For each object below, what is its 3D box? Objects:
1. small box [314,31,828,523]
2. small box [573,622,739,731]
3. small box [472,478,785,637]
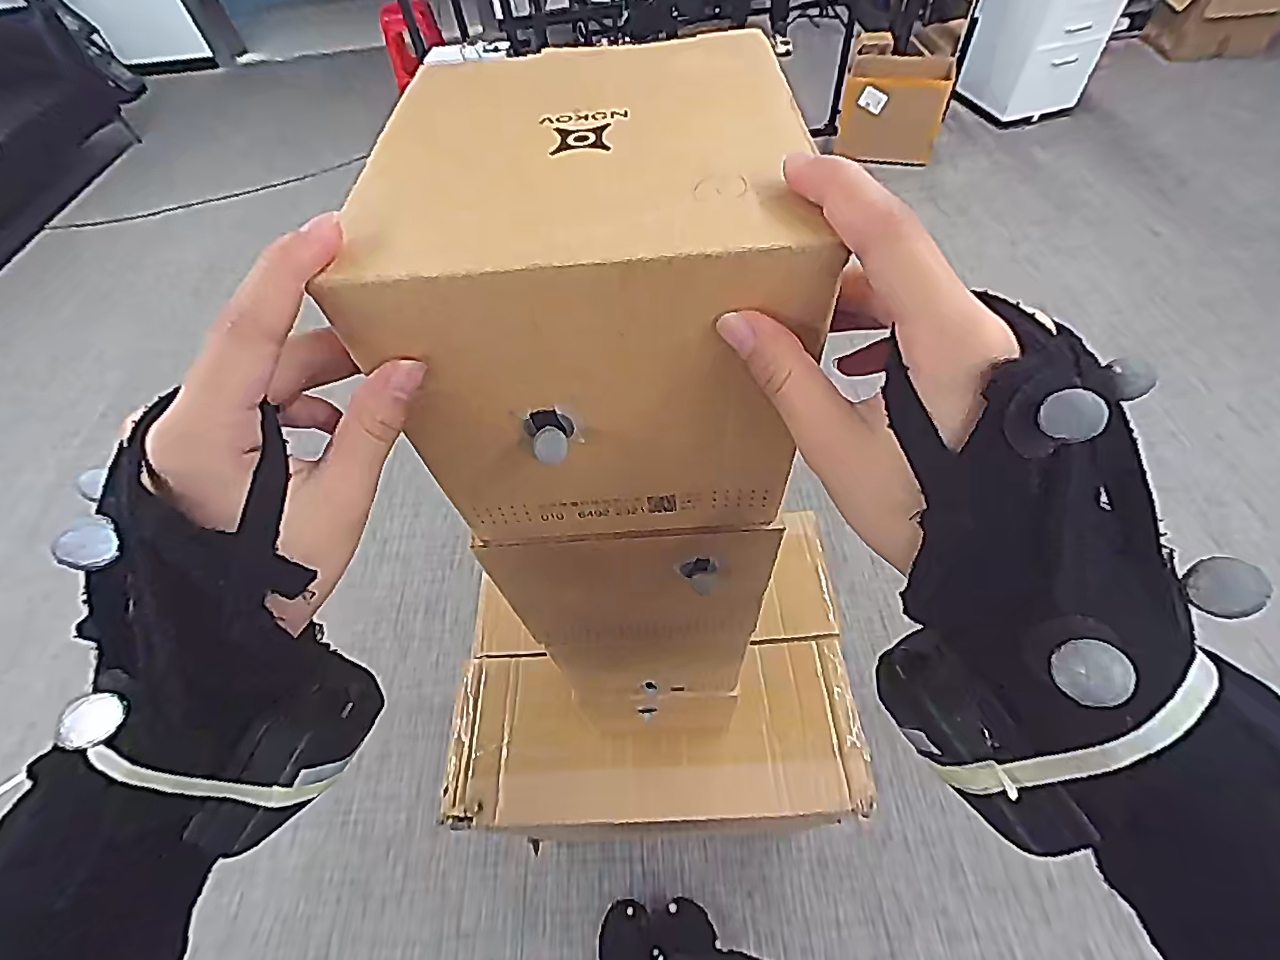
[{"bbox_3d":[-0.018,-0.088,0.277,0.168,0.176,0.179,-4,54,3],"label":"small box"},{"bbox_3d":[0.022,0.206,0.669,0.179,0.176,0.168,-4,54,3],"label":"small box"},{"bbox_3d":[-0.003,0.010,0.406,0.179,0.176,0.168,-4,55,3],"label":"small box"}]
